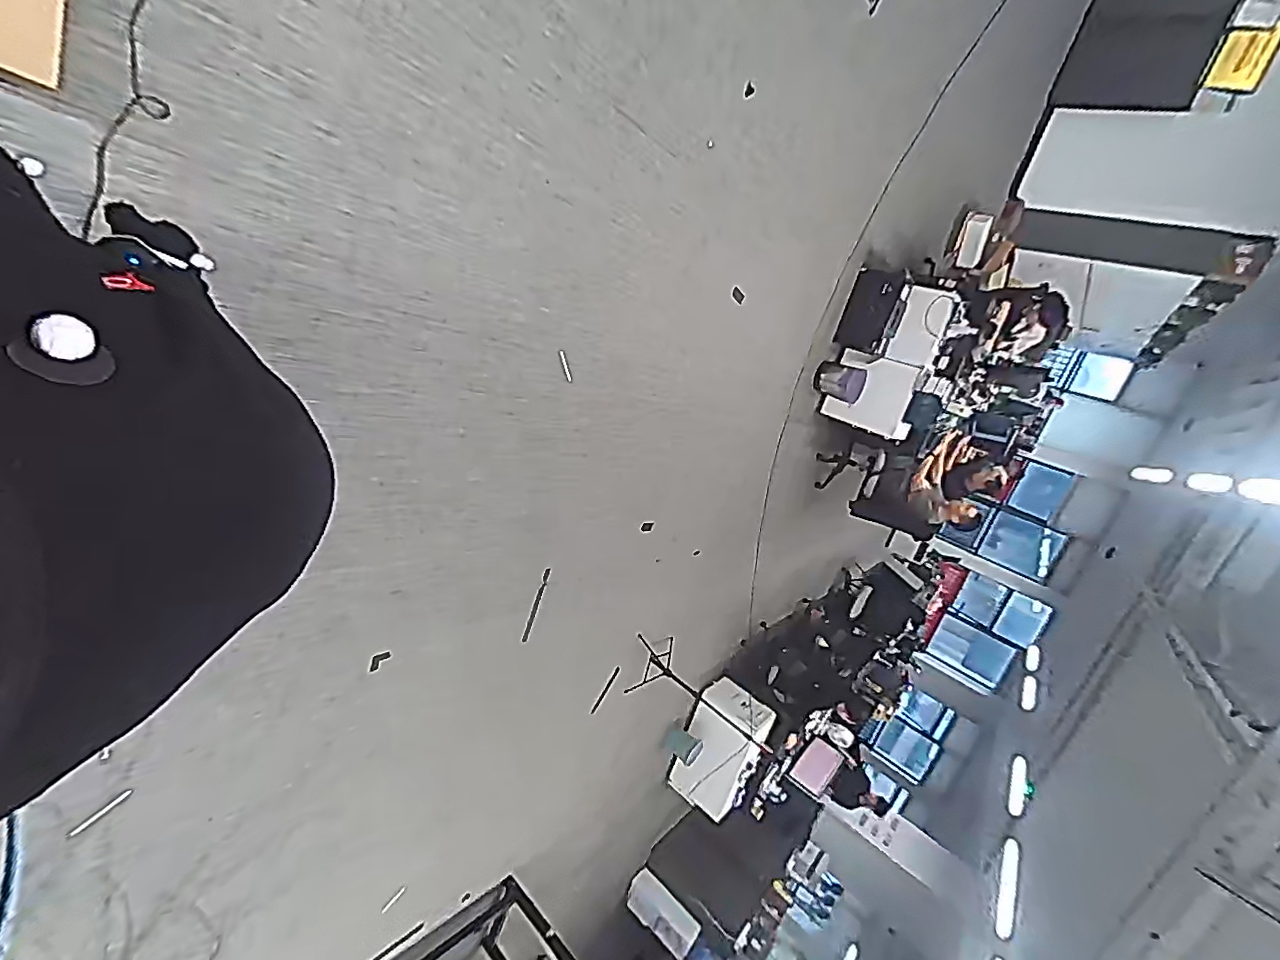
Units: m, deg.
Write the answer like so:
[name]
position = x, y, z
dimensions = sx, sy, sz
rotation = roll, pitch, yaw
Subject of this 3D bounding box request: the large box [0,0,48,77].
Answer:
[large box]
position = -0.981, -0.739, 0.615
dimensions = 0.408, 0.320, 0.320
rotation = 2, 112, -54
